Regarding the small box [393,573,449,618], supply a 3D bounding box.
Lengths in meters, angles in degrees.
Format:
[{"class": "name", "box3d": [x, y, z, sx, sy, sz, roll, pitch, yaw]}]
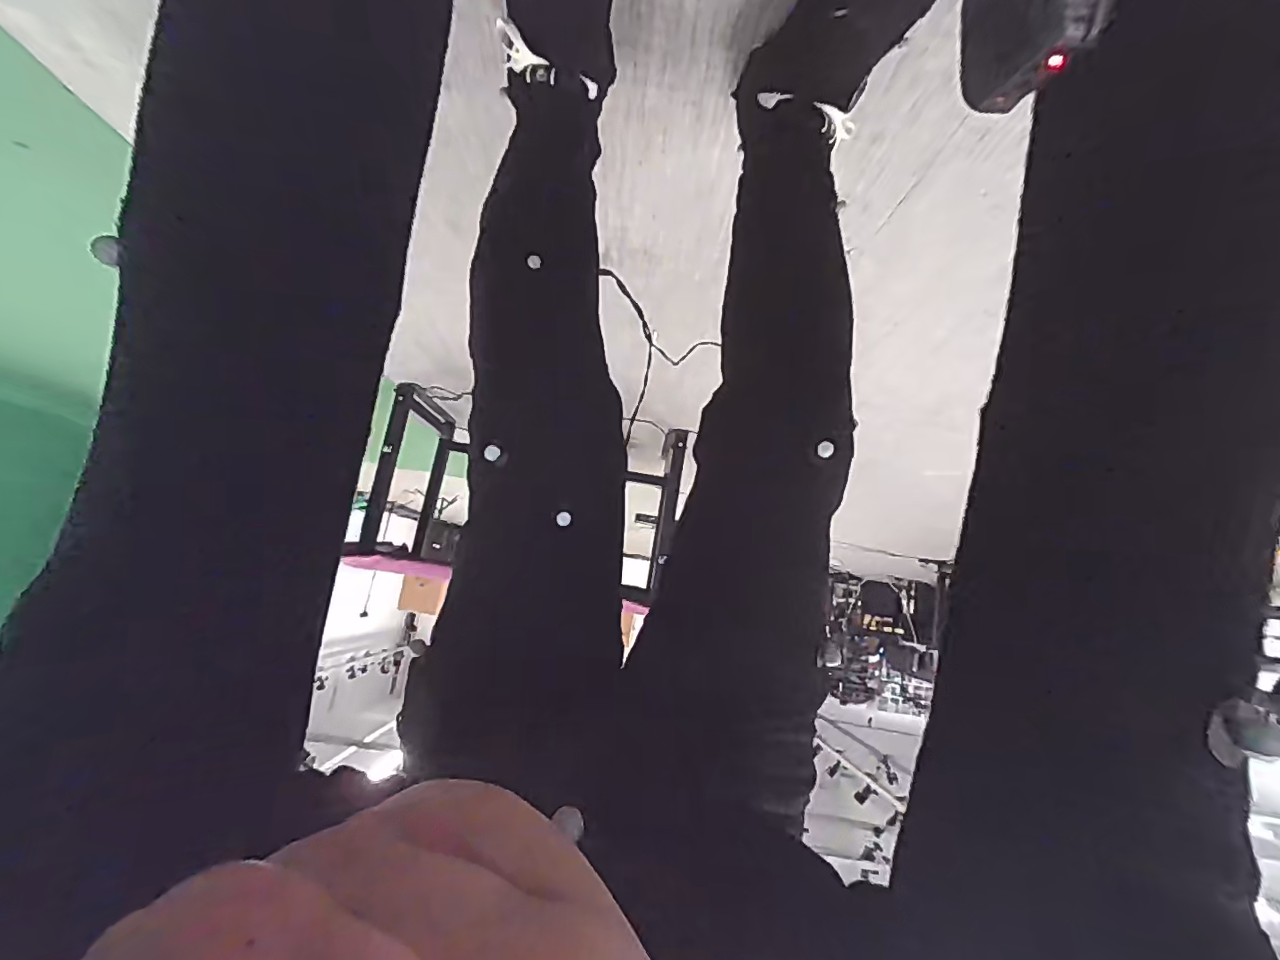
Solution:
[{"class": "small box", "box3d": [-0.954, 0.503, 2.370, 0.168, 0.176, 0.179, 8, 169, -3]}]
